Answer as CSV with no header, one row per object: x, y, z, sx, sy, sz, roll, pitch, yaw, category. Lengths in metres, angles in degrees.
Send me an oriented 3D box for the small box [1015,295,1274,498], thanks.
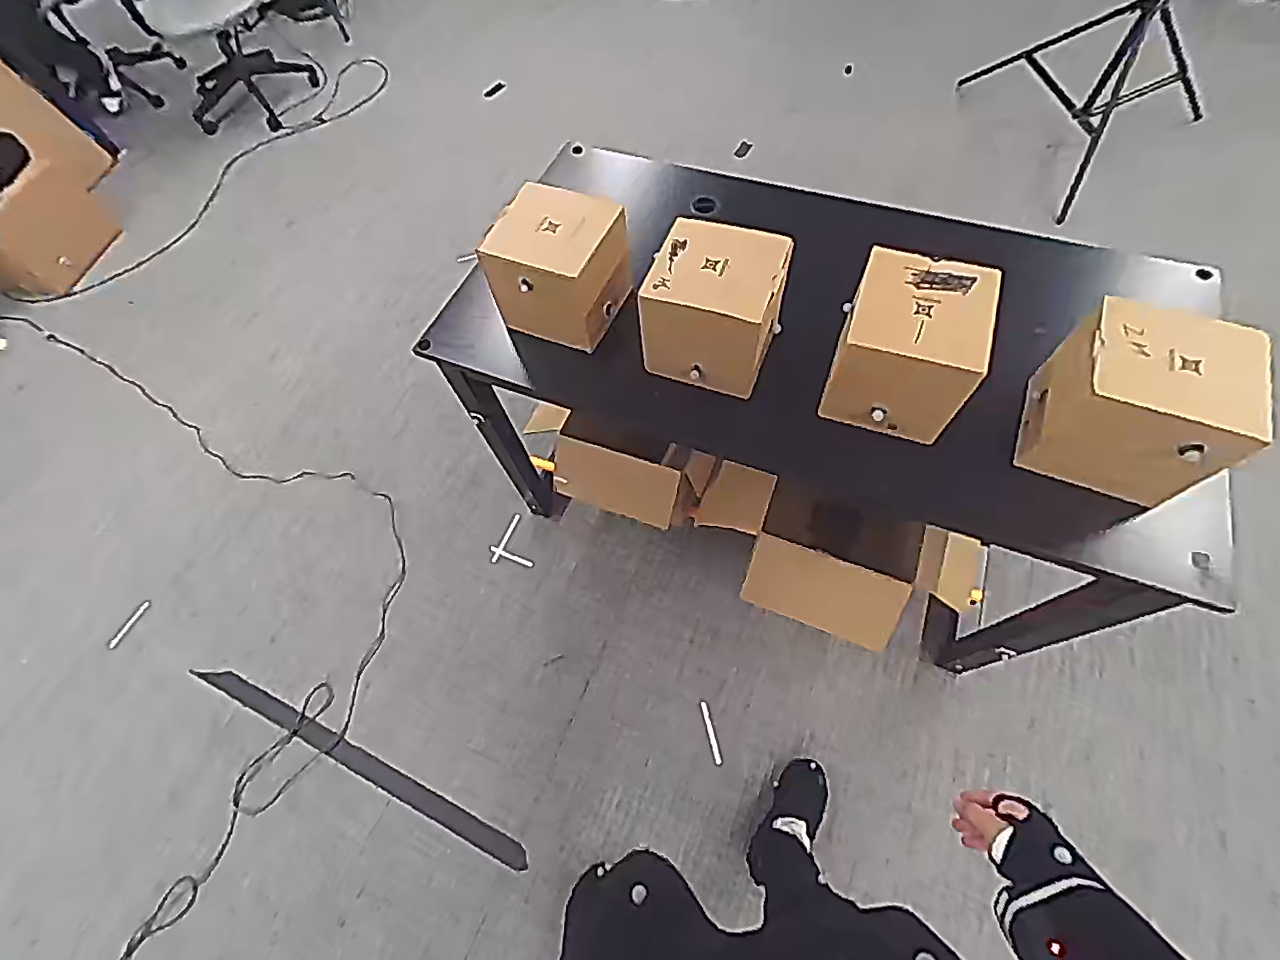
0.626,-0.098,0.689,0.179,0.176,0.168,21,65,15,small box

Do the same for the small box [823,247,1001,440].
0.369,-0.186,0.756,0.168,0.176,0.179,17,66,13,small box

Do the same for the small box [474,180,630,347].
-0.129,-0.343,0.875,0.179,0.176,0.168,21,67,13,small box

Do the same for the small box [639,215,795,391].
0.112,-0.258,0.813,0.179,0.176,0.168,18,66,12,small box
